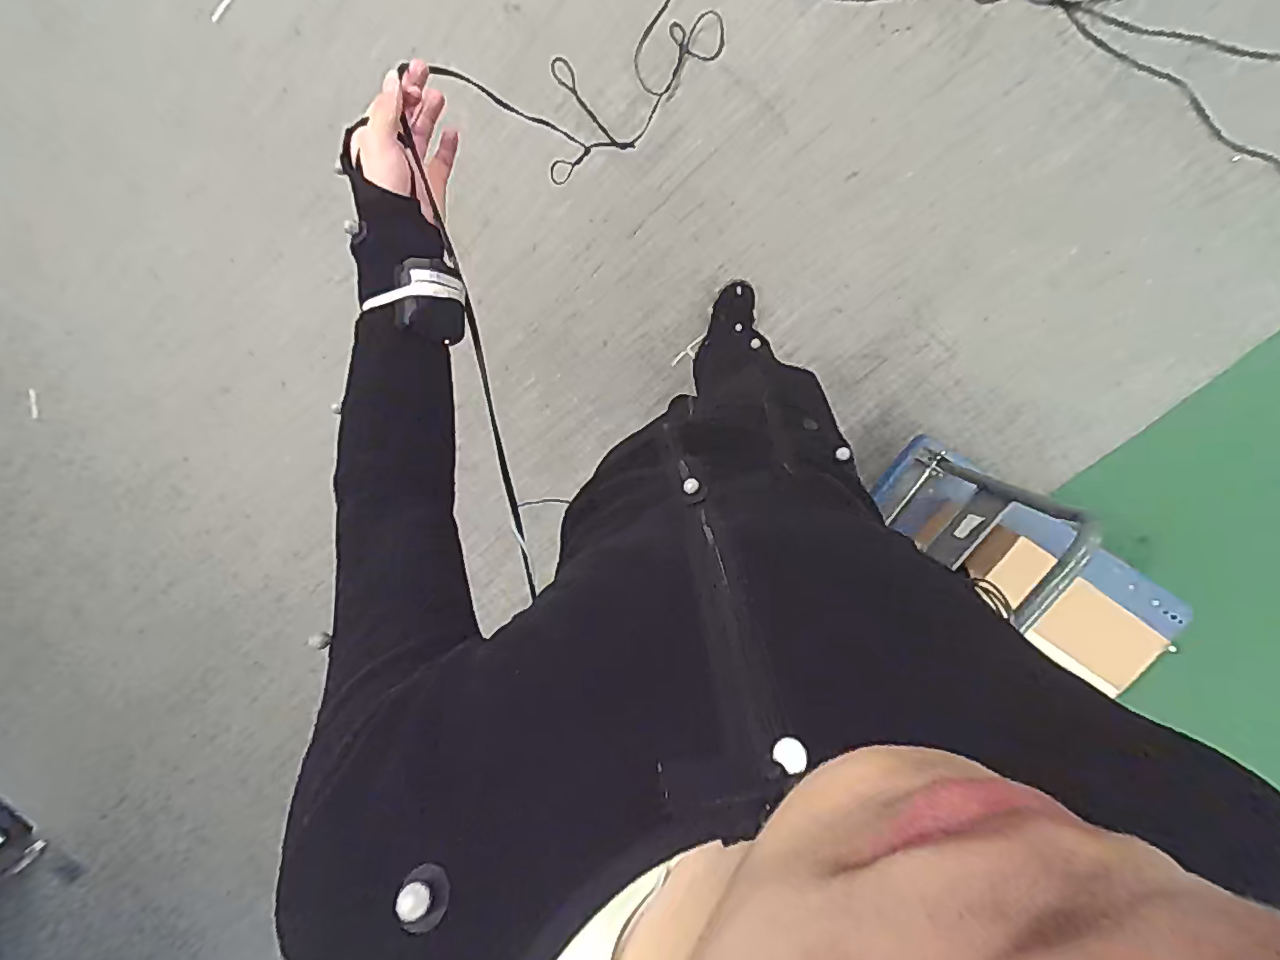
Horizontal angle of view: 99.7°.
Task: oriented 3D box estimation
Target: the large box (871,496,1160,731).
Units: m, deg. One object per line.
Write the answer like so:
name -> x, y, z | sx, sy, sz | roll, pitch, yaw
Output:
large box -> 0.853, 0.296, 1.295 | 0.408, 0.320, 0.320 | 35, 103, -5
